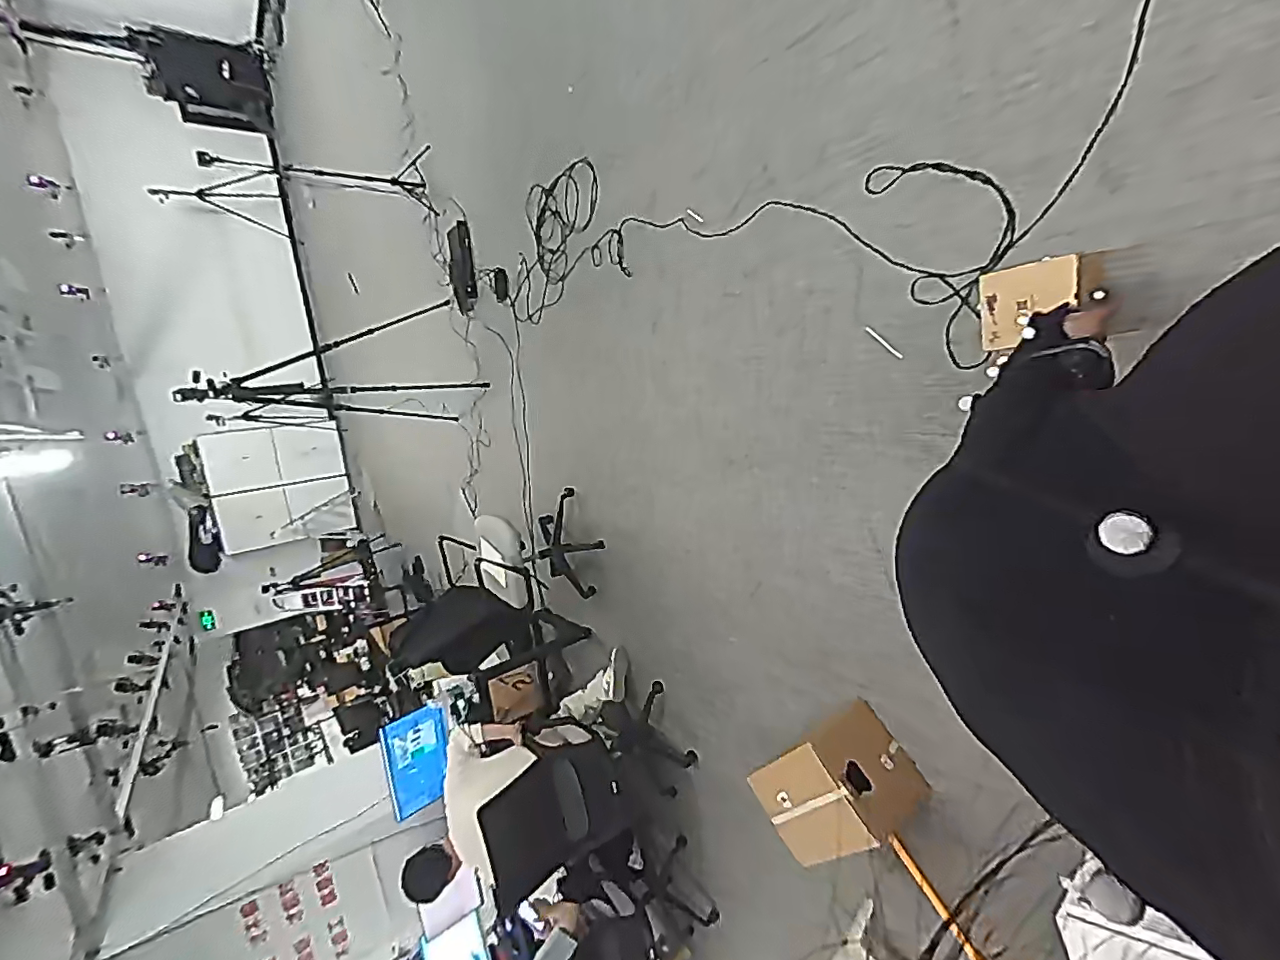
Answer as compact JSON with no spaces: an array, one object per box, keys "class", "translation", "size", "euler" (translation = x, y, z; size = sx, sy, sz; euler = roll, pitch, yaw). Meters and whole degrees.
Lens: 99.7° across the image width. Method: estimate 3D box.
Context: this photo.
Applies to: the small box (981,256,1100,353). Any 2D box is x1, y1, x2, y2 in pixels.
[{"class":"small box","translation":[0.868,-0.375,1.169],"size":[0.179,0.176,0.168],"euler":[3,103,51]}]
